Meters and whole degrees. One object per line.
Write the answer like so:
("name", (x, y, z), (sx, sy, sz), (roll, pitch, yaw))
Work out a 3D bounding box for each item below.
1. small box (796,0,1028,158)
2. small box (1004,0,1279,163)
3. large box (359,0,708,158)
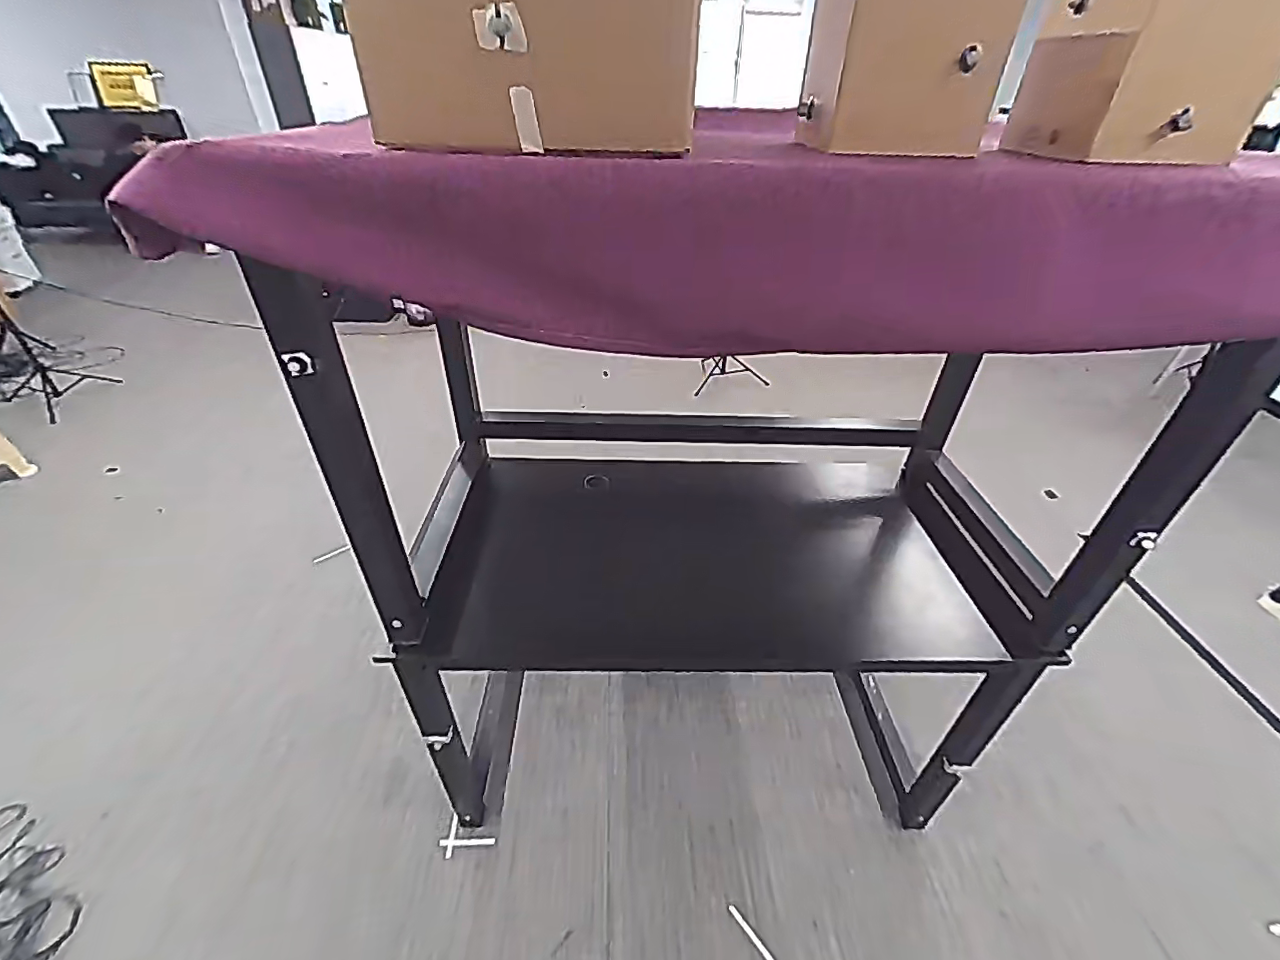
("small box", (0.301, -0.485, 0.634), (0.179, 0.176, 0.168), (0, 35, -1))
("small box", (0.568, -0.464, 0.611), (0.179, 0.176, 0.168), (0, 35, -3))
("large box", (-0.101, -0.554, 0.599), (0.320, 0.320, 0.408), (1, 35, -2))
